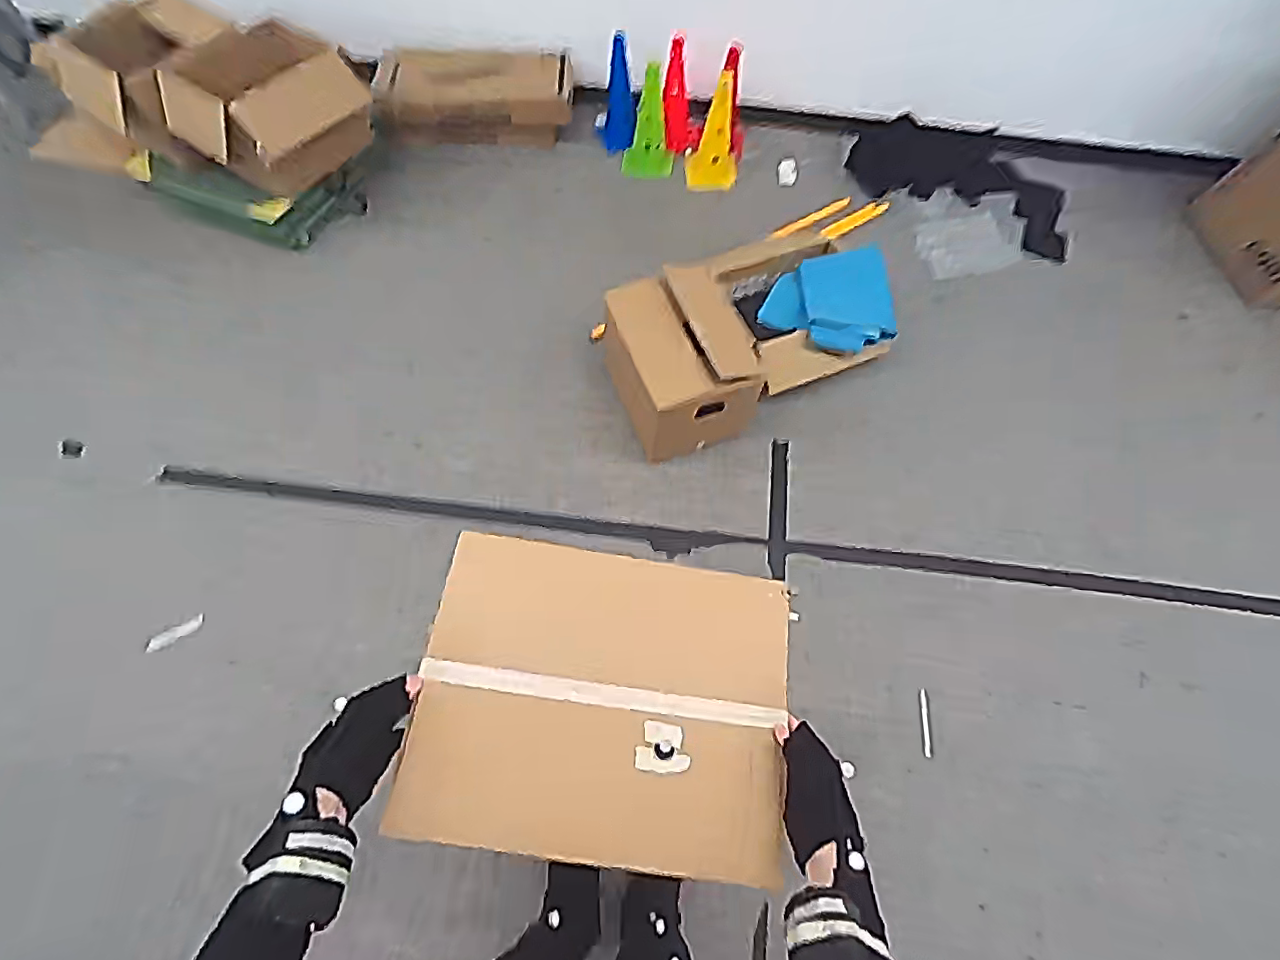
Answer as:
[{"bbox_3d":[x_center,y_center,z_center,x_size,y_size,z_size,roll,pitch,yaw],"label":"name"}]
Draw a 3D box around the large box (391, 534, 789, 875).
[{"bbox_3d":[-0.048,0.290,0.726,0.408,0.320,0.320,9,66,-3],"label":"large box"}]
